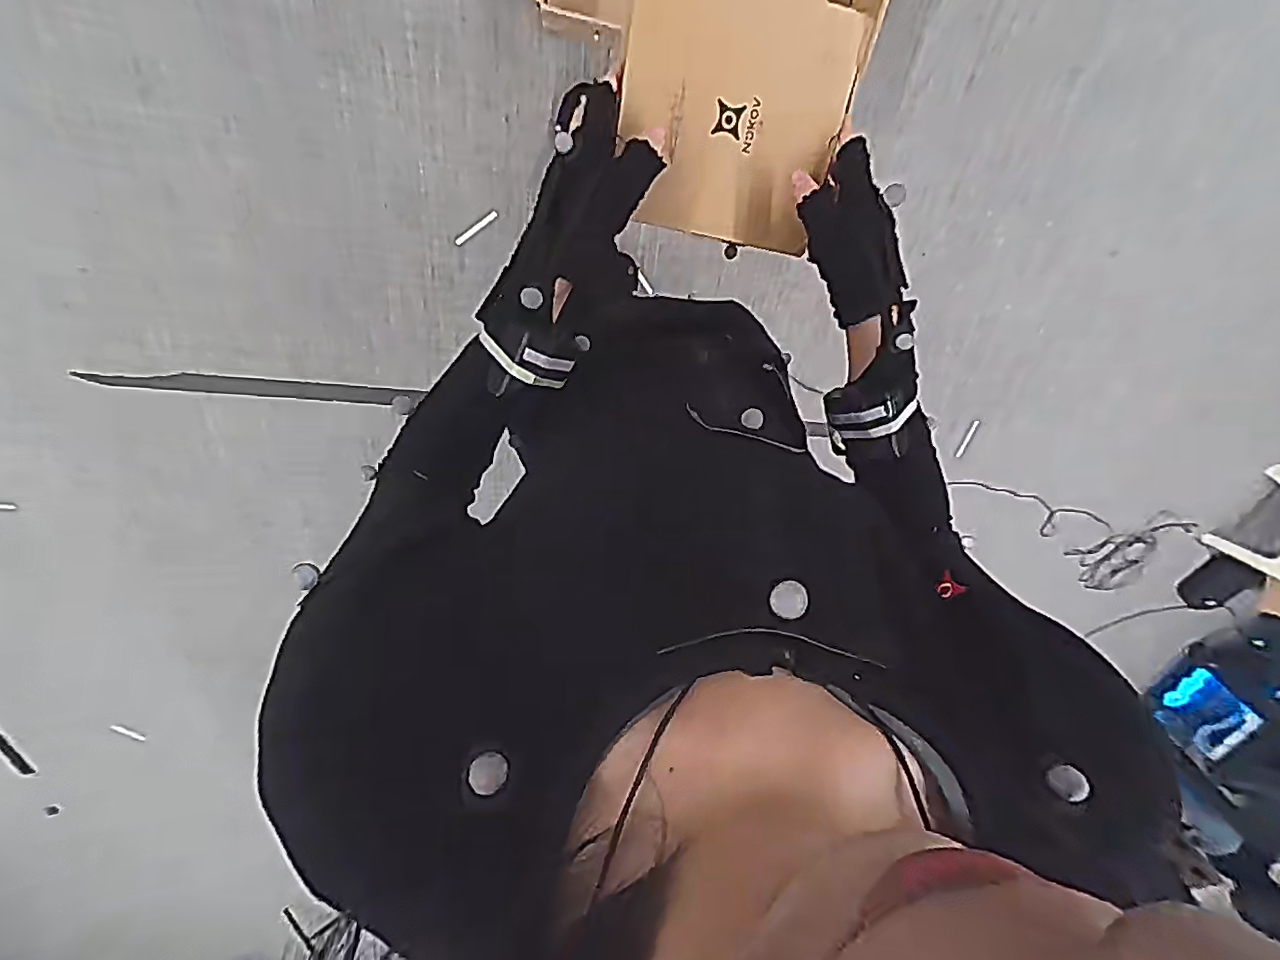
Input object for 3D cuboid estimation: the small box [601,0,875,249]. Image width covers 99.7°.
[{"bbox_3d":[0.065,-0.312,0.481,0.179,0.176,0.168,6,115,-9],"label":"small box"}]
